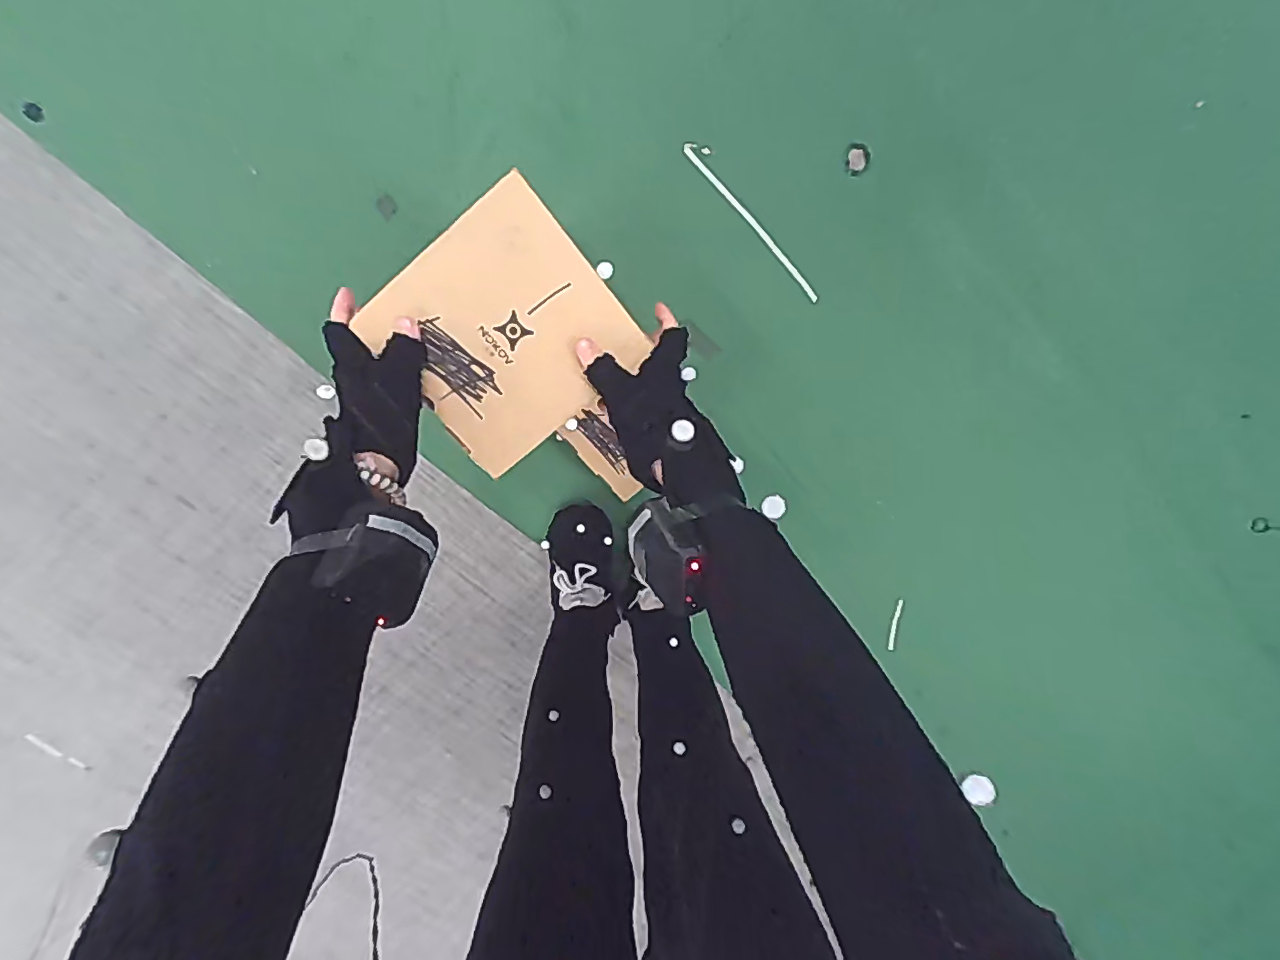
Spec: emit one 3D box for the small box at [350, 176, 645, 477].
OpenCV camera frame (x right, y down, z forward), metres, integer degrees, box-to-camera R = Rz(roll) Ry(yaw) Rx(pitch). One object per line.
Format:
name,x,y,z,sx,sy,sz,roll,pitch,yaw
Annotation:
small box,-0.114,-0.134,0.502,0.179,0.176,0.168,-38,106,7
